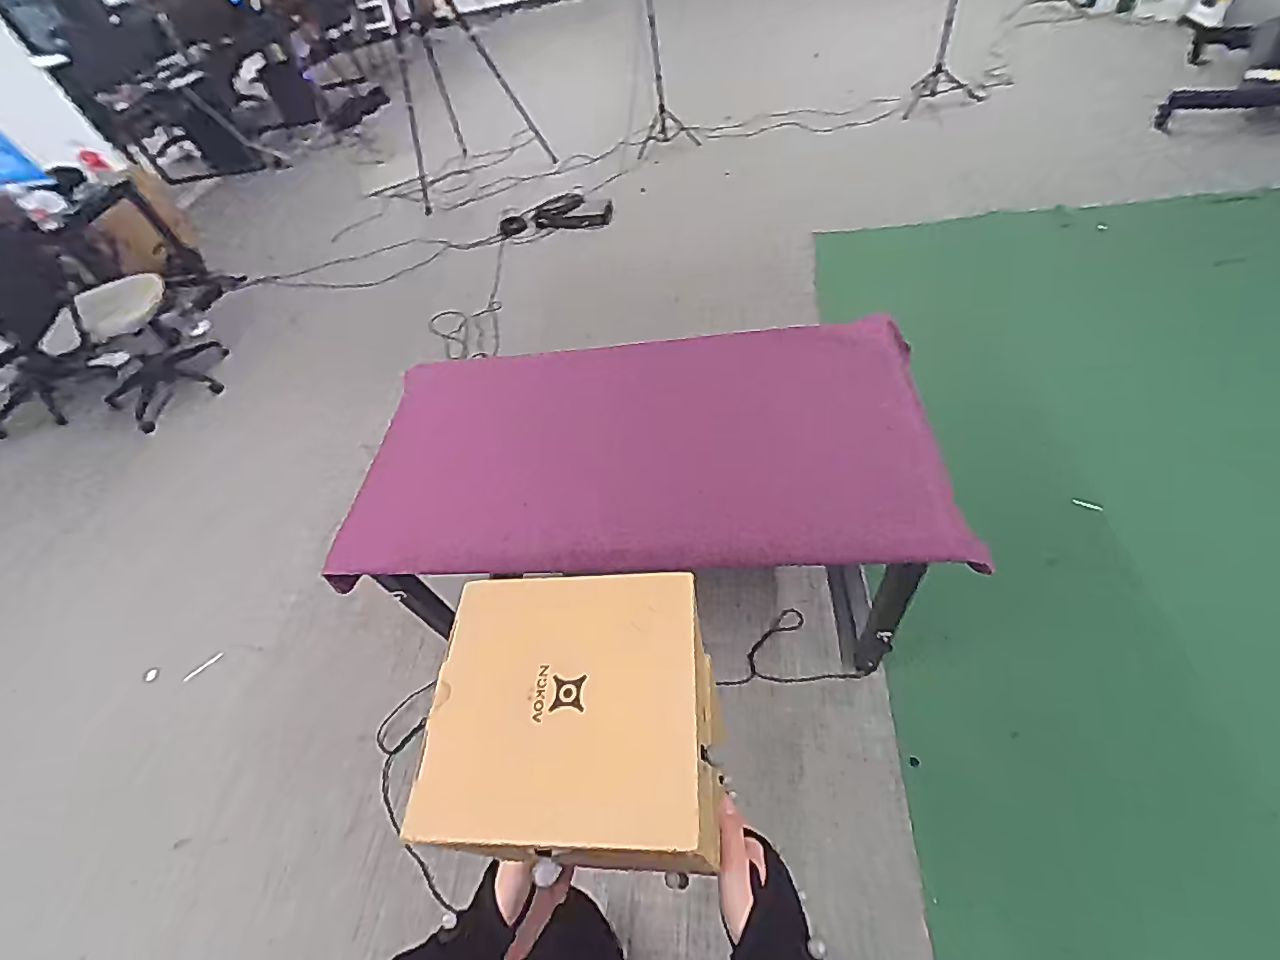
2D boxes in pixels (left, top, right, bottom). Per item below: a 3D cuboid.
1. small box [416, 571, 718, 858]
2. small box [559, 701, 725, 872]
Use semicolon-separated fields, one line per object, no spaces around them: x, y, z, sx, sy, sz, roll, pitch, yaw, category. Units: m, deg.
-0.031;0.182;0.412;0.179;0.176;0.168;-4;52;8;small box
0.016;0.378;0.670;0.179;0.176;0.168;-3;52;10;small box
